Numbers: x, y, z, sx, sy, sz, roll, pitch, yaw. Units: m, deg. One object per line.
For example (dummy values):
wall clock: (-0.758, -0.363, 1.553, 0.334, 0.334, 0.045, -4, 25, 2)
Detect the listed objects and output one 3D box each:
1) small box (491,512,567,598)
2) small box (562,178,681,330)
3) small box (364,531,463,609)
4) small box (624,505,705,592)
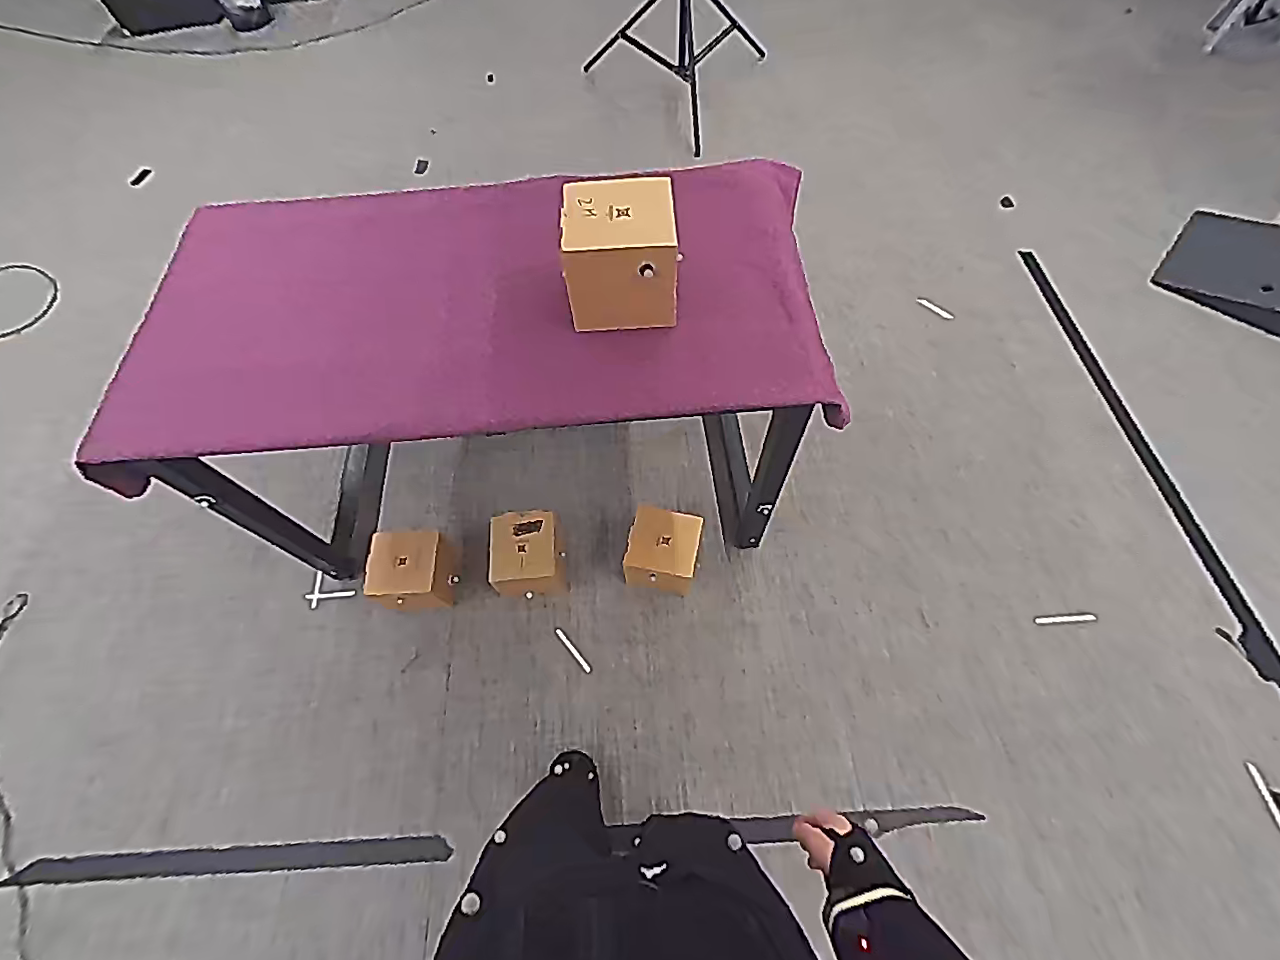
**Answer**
small box: (-0.288, 0.201, 1.437, 0.168, 0.176, 0.179, -5, 63, 0)
small box: (-0.027, -0.369, 0.899, 0.179, 0.176, 0.168, -3, 61, 2)
small box: (-0.591, 0.242, 1.432, 0.179, 0.176, 0.168, -2, 63, 1)
small box: (0.068, 0.187, 1.428, 0.179, 0.176, 0.168, 10, 64, 9)
